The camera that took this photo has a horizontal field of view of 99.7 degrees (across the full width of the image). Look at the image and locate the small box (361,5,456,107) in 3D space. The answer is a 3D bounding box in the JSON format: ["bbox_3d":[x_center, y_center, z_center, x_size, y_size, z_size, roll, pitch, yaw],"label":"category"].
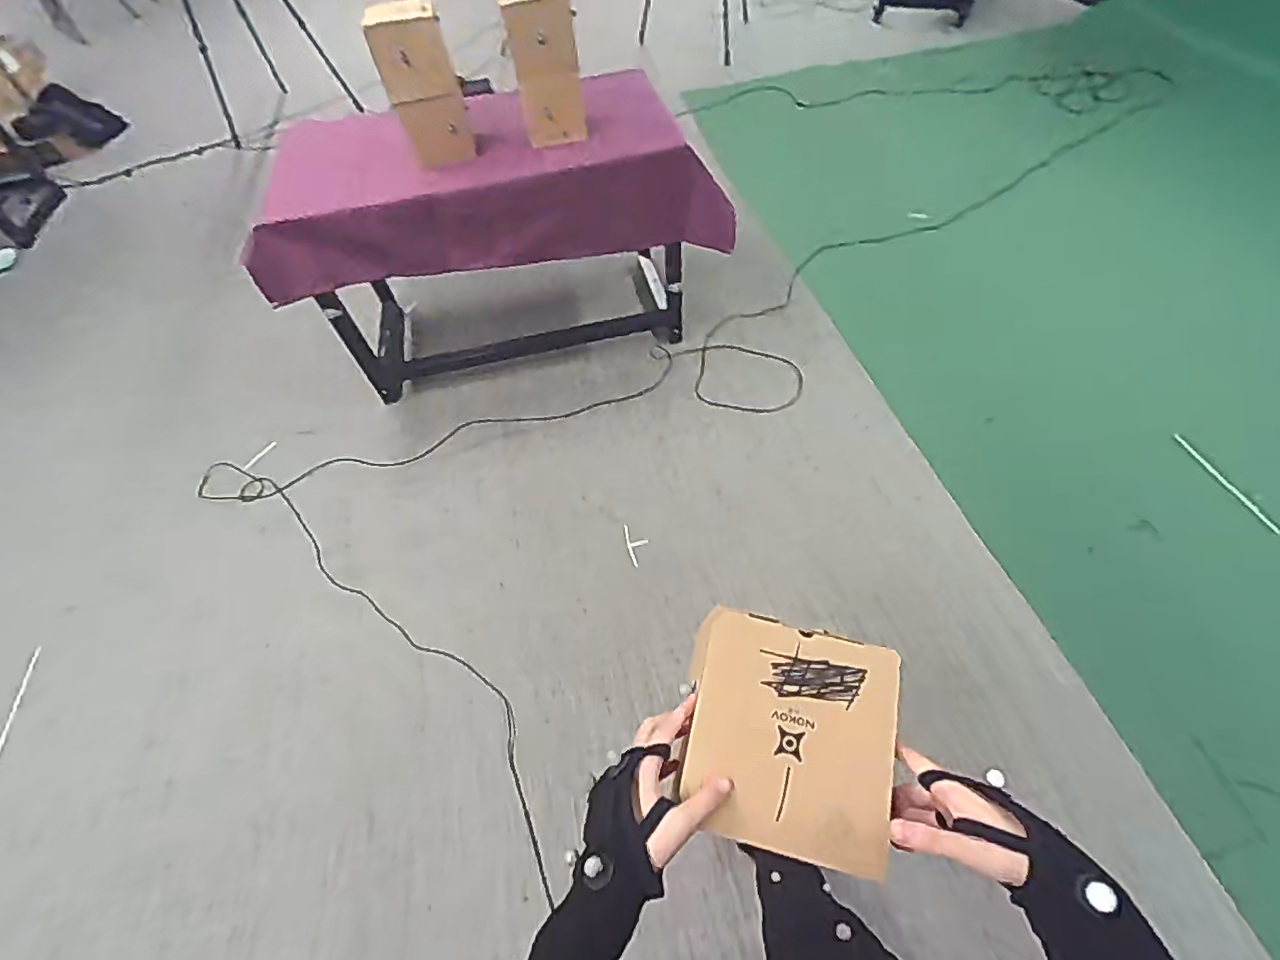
[{"bbox_3d":[-0.604,-1.116,1.429,0.179,0.176,0.168,-12,55,-3],"label":"small box"}]

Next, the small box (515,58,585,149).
[{"bbox_3d":[-0.261,-1.096,1.584,0.168,0.176,0.179,-12,54,-3],"label":"small box"}]

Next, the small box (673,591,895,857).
[{"bbox_3d":[0.129,0.227,0.528,0.168,0.176,0.179,12,68,6],"label":"small box"}]

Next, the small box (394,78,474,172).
[{"bbox_3d":[-0.588,-1.024,1.565,0.179,0.176,0.168,-13,54,-3],"label":"small box"}]
